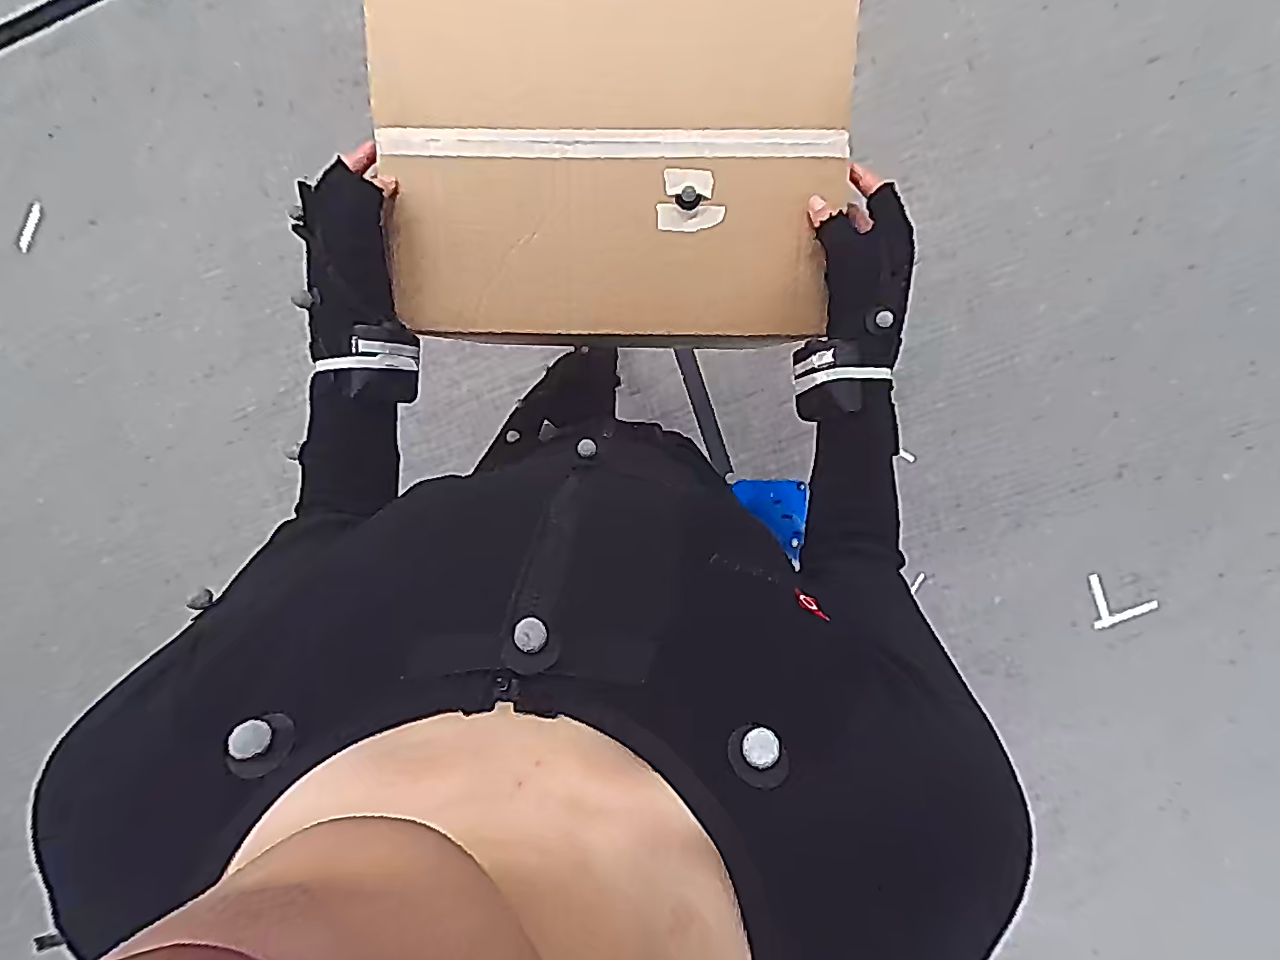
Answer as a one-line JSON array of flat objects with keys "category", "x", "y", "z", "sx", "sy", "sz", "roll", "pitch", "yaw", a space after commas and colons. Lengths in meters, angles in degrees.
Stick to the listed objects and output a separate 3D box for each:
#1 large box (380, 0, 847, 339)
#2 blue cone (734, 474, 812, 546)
[{"category": "large box", "x": -0.024, "y": -0.332, "z": 0.622, "sx": 0.408, "sy": 0.320, "sz": 0.320, "roll": 1, "pitch": 102, "yaw": 0}, {"category": "blue cone", "x": 0.347, "y": 0.103, "z": 1.310, "sx": 0.193, "sy": 0.380, "sz": 0.192, "roll": 1, "pitch": 99, "yaw": 1}]
